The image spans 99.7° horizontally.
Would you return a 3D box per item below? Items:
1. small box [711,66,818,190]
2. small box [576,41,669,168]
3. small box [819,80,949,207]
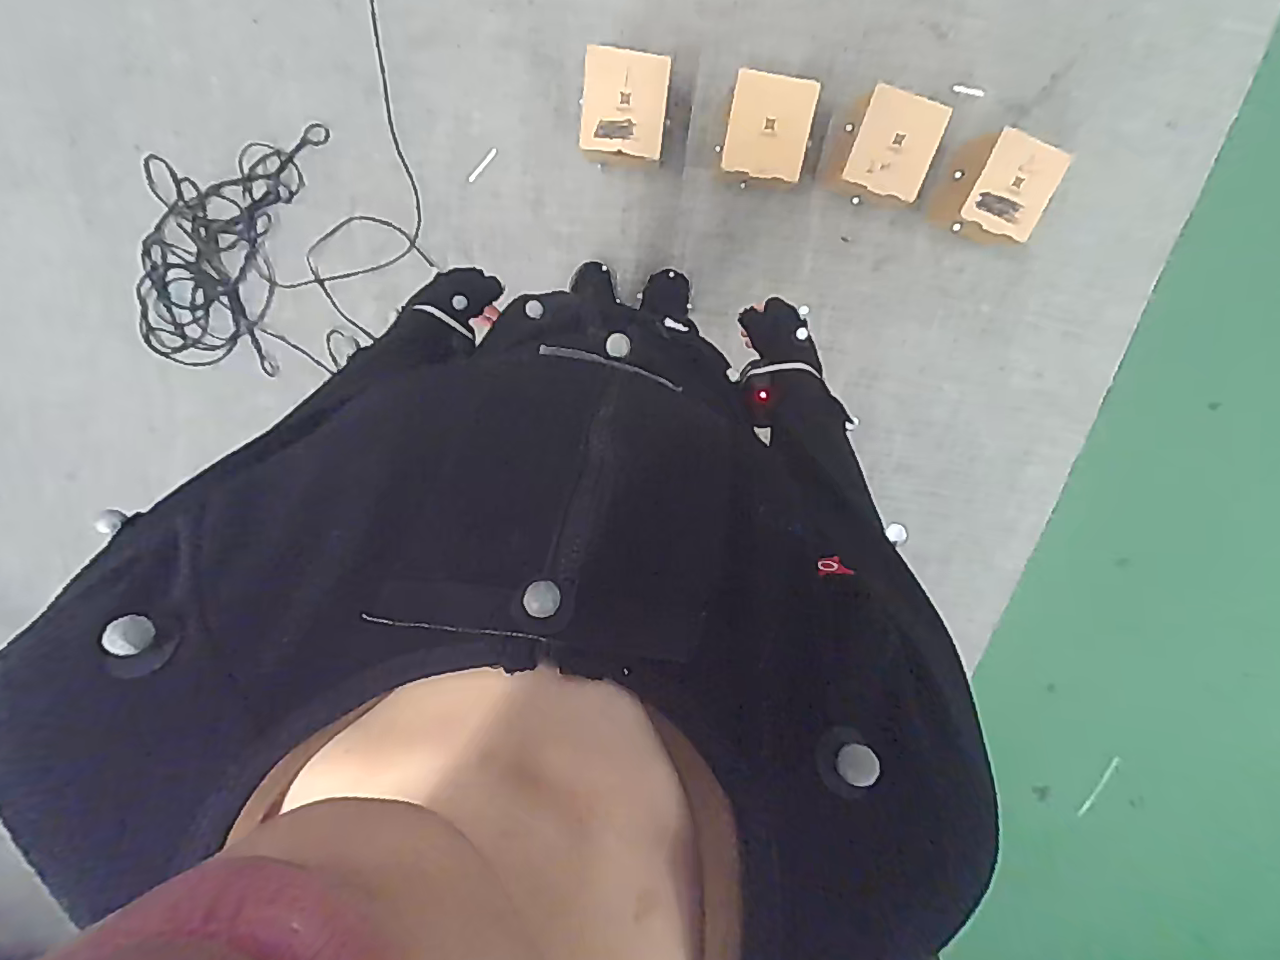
[{"bbox_3d":[0.252,-0.734,1.145,0.168,0.176,0.179,8,113,-3],"label":"small box"},{"bbox_3d":[-0.036,-0.769,1.128,0.168,0.176,0.179,7,112,-3],"label":"small box"},{"bbox_3d":[0.507,-0.706,1.156,0.168,0.176,0.179,15,112,-6],"label":"small box"}]
